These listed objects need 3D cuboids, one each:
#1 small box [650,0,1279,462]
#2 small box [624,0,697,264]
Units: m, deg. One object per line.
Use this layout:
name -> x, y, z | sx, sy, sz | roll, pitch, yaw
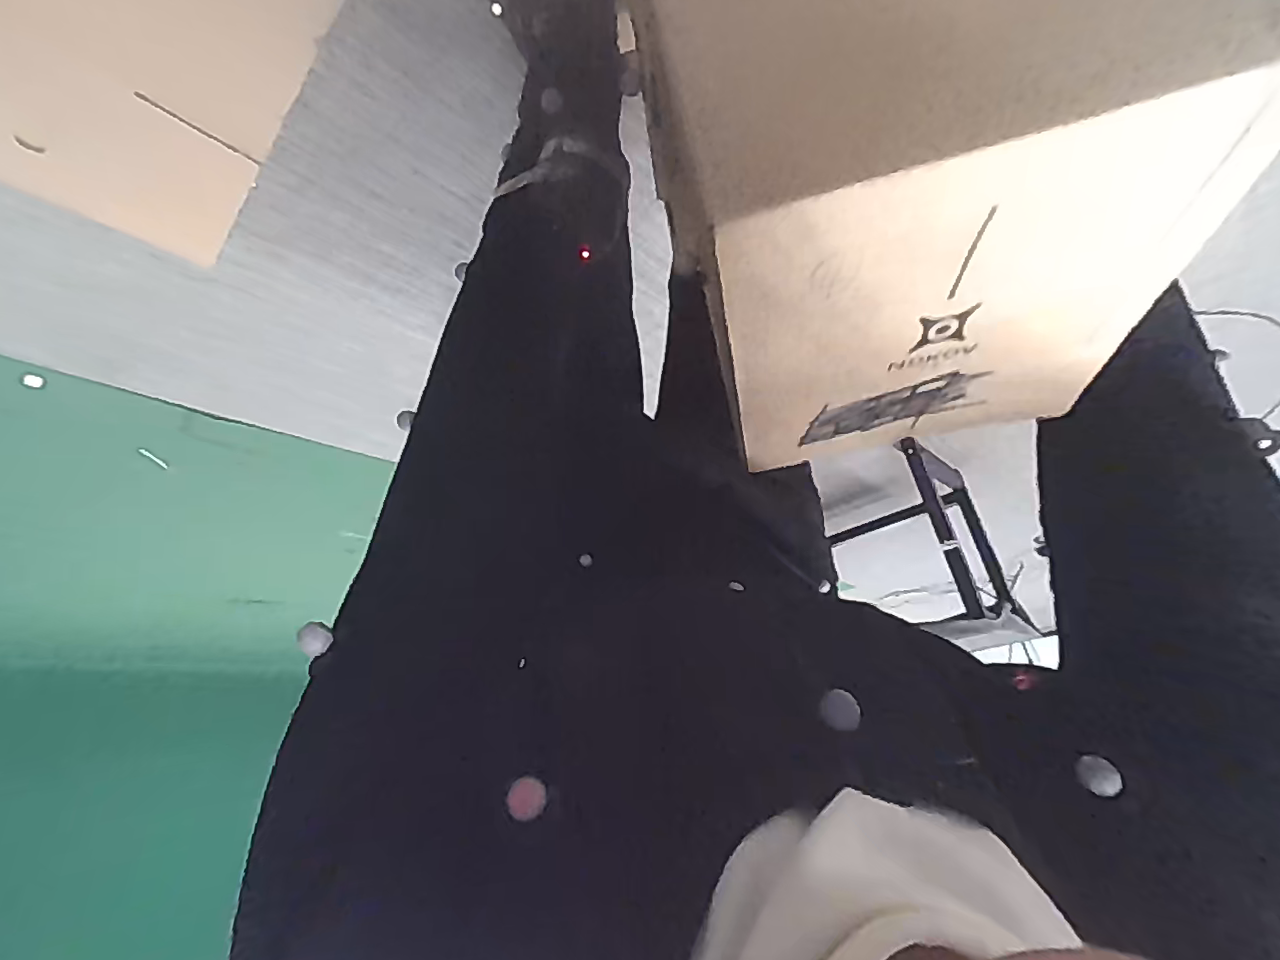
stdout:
small box -> 0.107, -0.132, 0.256 | 0.168, 0.176, 0.179 | -12, 152, 10
small box -> 0.086, -0.275, 0.341 | 0.179, 0.176, 0.168 | -12, 151, 8
